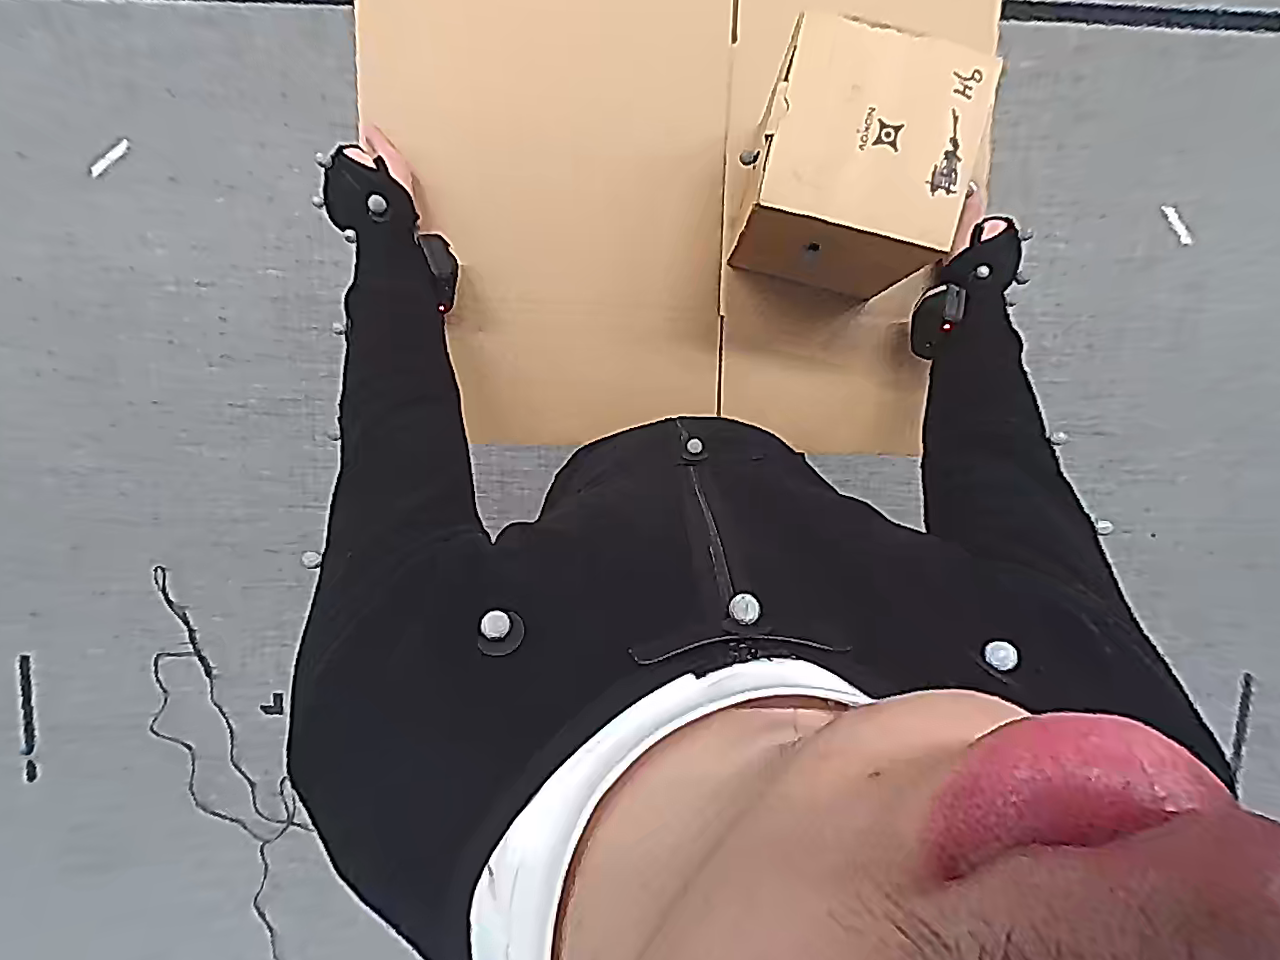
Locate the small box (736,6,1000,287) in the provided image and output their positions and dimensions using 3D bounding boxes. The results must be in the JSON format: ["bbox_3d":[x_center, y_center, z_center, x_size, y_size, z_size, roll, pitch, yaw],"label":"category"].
[{"bbox_3d":[0.205,-0.311,0.544,0.179,0.176,0.168,14,95,1],"label":"small box"}]
